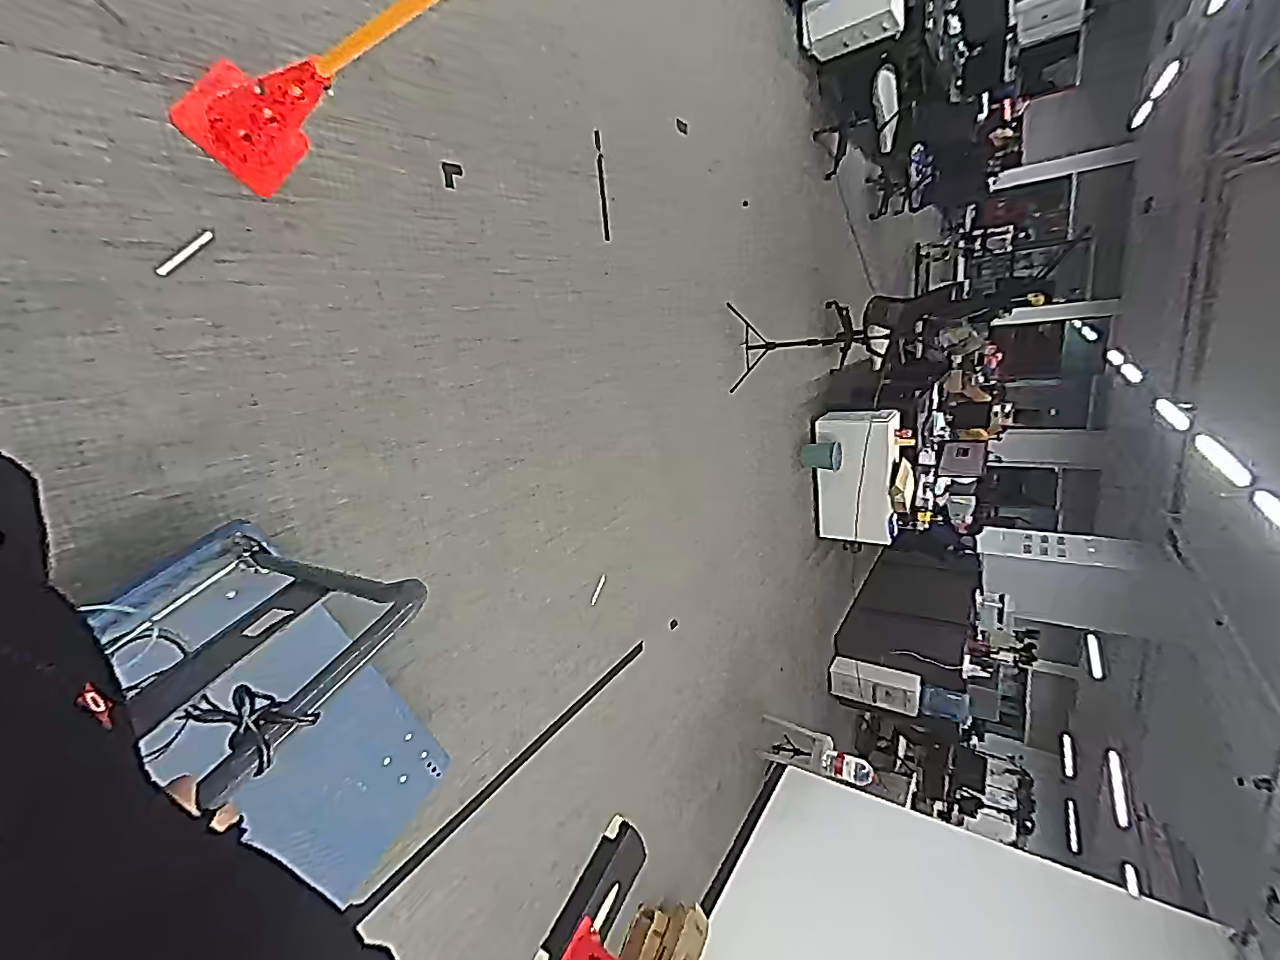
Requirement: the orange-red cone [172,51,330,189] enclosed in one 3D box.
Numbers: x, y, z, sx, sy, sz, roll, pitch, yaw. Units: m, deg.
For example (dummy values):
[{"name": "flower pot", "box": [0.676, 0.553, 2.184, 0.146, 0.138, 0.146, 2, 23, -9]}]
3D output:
[{"name": "orange-red cone", "box": [-0.708, -0.748, 1.058, 0.198, 0.360, 0.199, 45, 59, -46]}]
